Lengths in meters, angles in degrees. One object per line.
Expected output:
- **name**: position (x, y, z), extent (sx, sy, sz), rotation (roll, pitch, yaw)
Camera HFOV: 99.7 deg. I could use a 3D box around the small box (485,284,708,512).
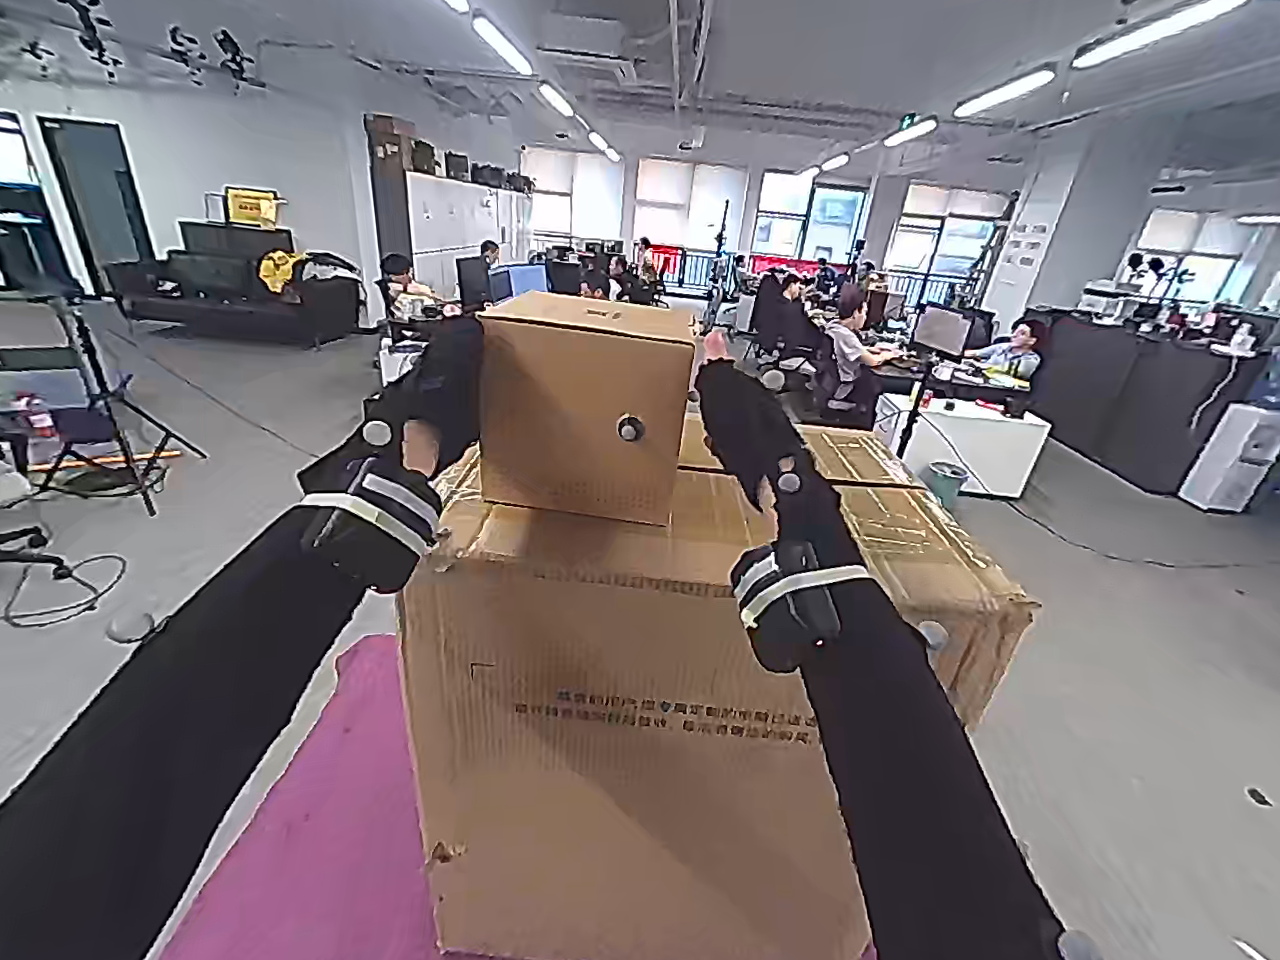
- **small box**: position (-0.036, -0.084, 0.519), extent (0.179, 0.176, 0.168), rotation (7, 24, 2)
